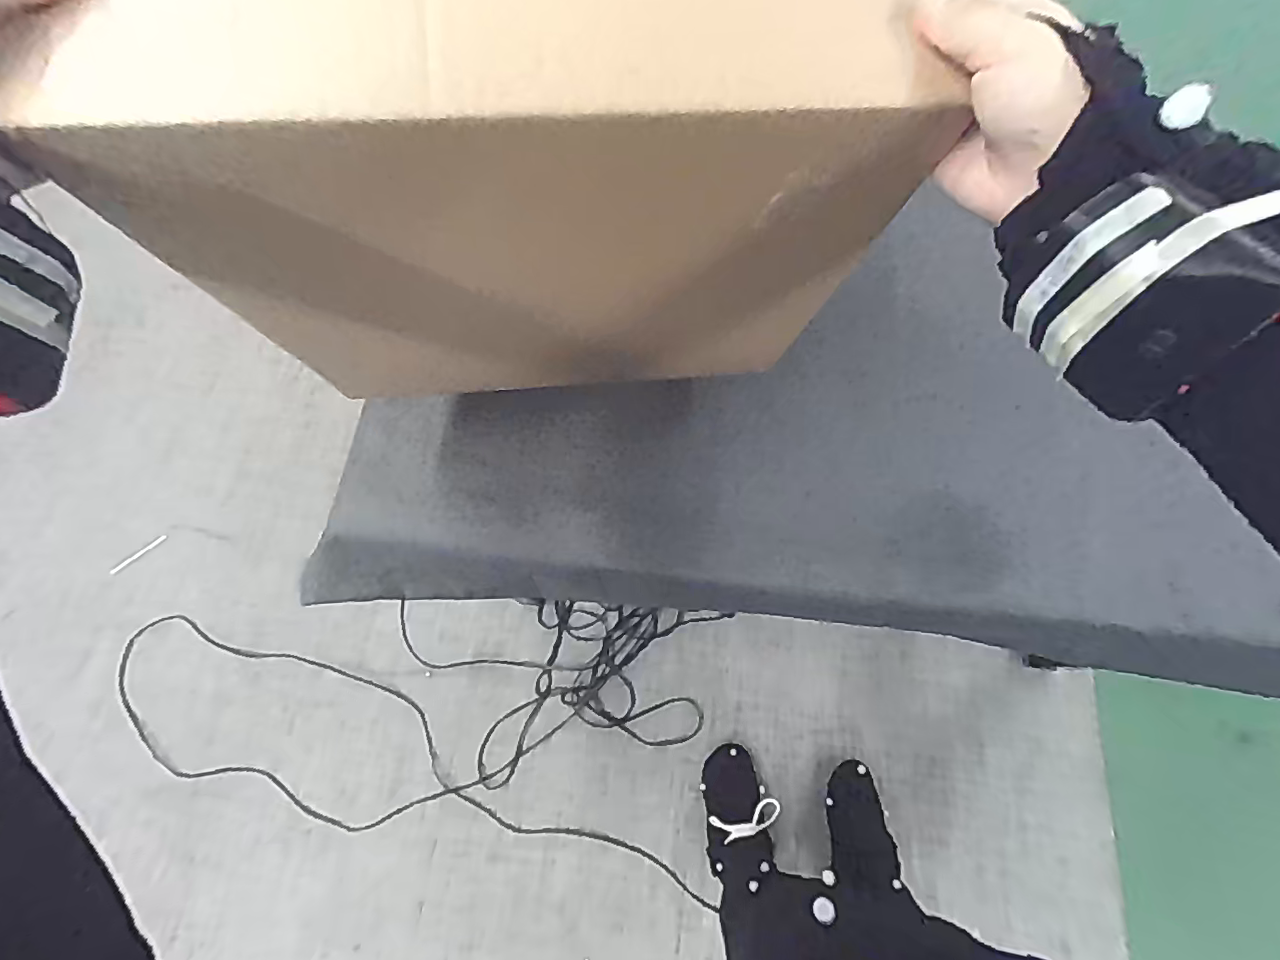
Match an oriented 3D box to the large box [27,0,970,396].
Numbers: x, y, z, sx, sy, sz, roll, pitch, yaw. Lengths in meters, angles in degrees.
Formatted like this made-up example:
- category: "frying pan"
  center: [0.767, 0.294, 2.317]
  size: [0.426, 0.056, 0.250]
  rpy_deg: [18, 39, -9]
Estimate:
- category: "large box"
  center: [-0.072, -0.270, 0.402]
  size: [0.408, 0.320, 0.320]
  rpy_deg: [-5, 81, -7]
